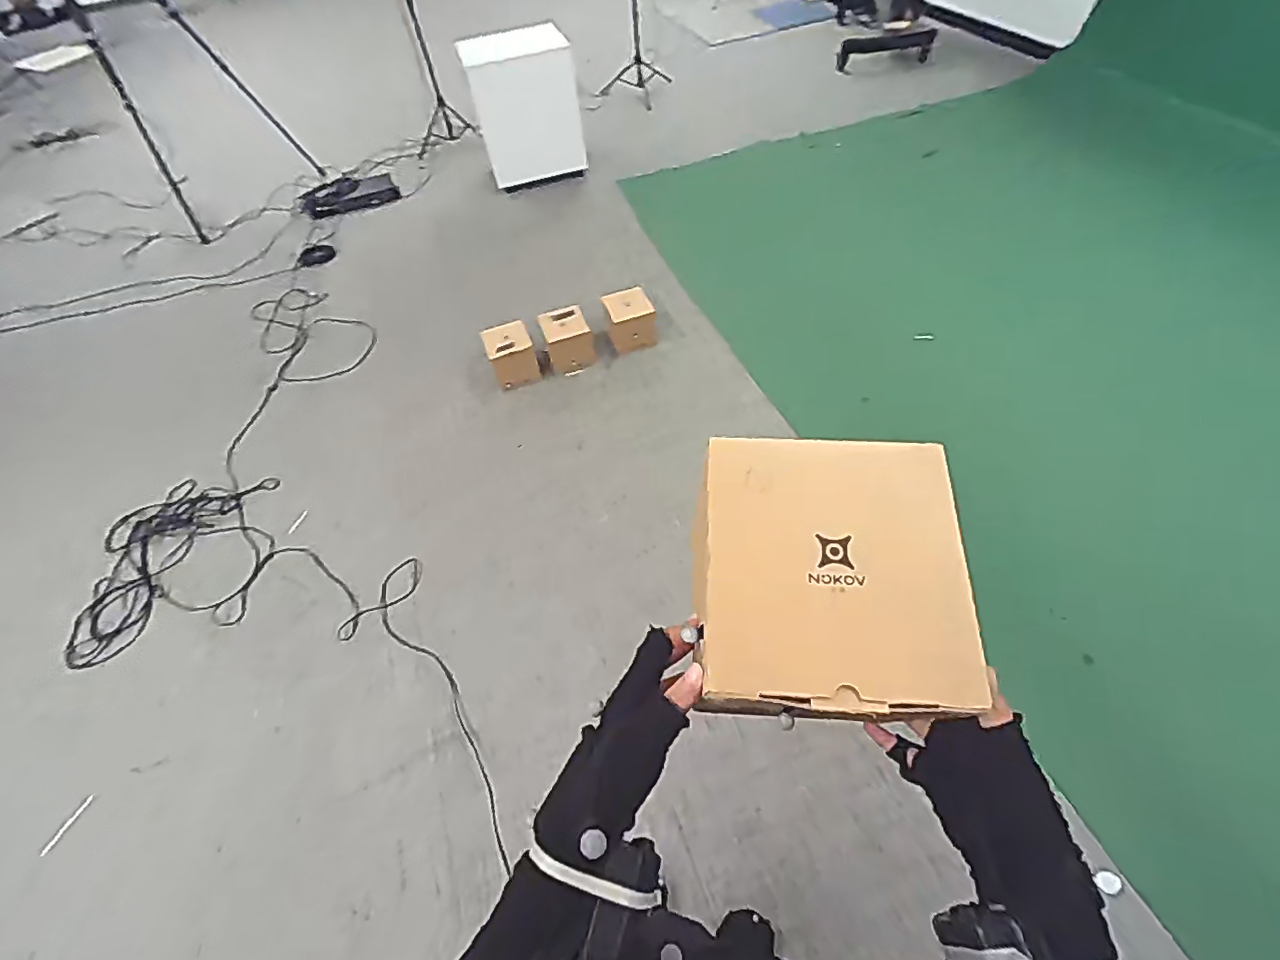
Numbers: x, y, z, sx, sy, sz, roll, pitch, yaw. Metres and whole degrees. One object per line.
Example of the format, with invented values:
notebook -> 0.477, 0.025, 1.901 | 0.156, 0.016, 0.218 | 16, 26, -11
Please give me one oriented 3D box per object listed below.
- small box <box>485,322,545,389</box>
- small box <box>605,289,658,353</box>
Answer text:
small box -> -0.480, -0.473, 2.089 | 0.168, 0.176, 0.179 | -20, 54, -8
small box -> -0.031, -0.627, 2.161 | 0.168, 0.176, 0.179 | -18, 55, -9
